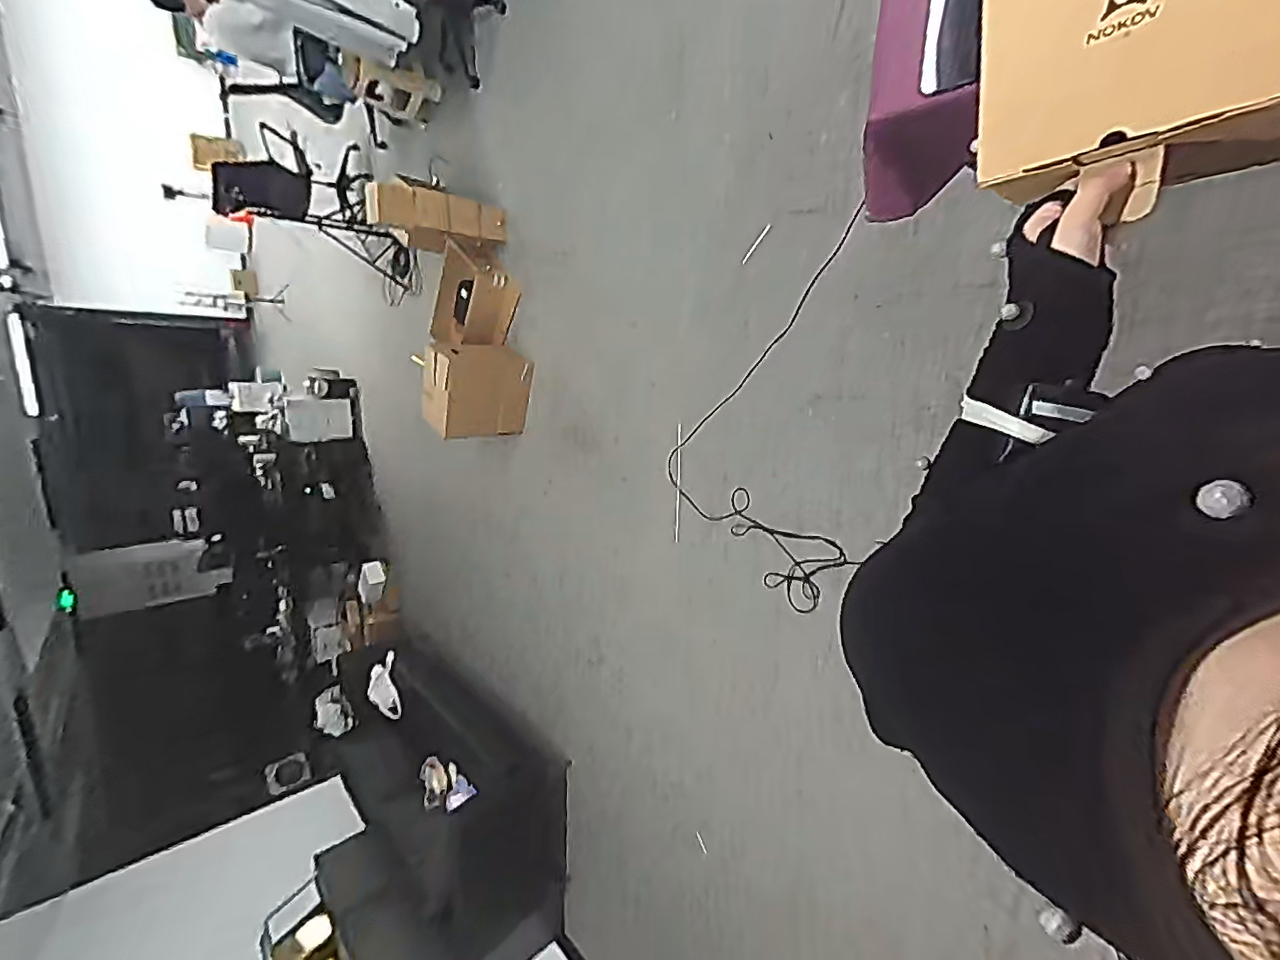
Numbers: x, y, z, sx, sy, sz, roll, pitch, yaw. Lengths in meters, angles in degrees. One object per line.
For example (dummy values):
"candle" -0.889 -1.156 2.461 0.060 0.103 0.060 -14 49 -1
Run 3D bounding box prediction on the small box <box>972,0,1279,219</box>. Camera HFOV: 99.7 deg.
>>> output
"small box" 0.378 -0.321 0.413 0.168 0.176 0.179 8 106 49
